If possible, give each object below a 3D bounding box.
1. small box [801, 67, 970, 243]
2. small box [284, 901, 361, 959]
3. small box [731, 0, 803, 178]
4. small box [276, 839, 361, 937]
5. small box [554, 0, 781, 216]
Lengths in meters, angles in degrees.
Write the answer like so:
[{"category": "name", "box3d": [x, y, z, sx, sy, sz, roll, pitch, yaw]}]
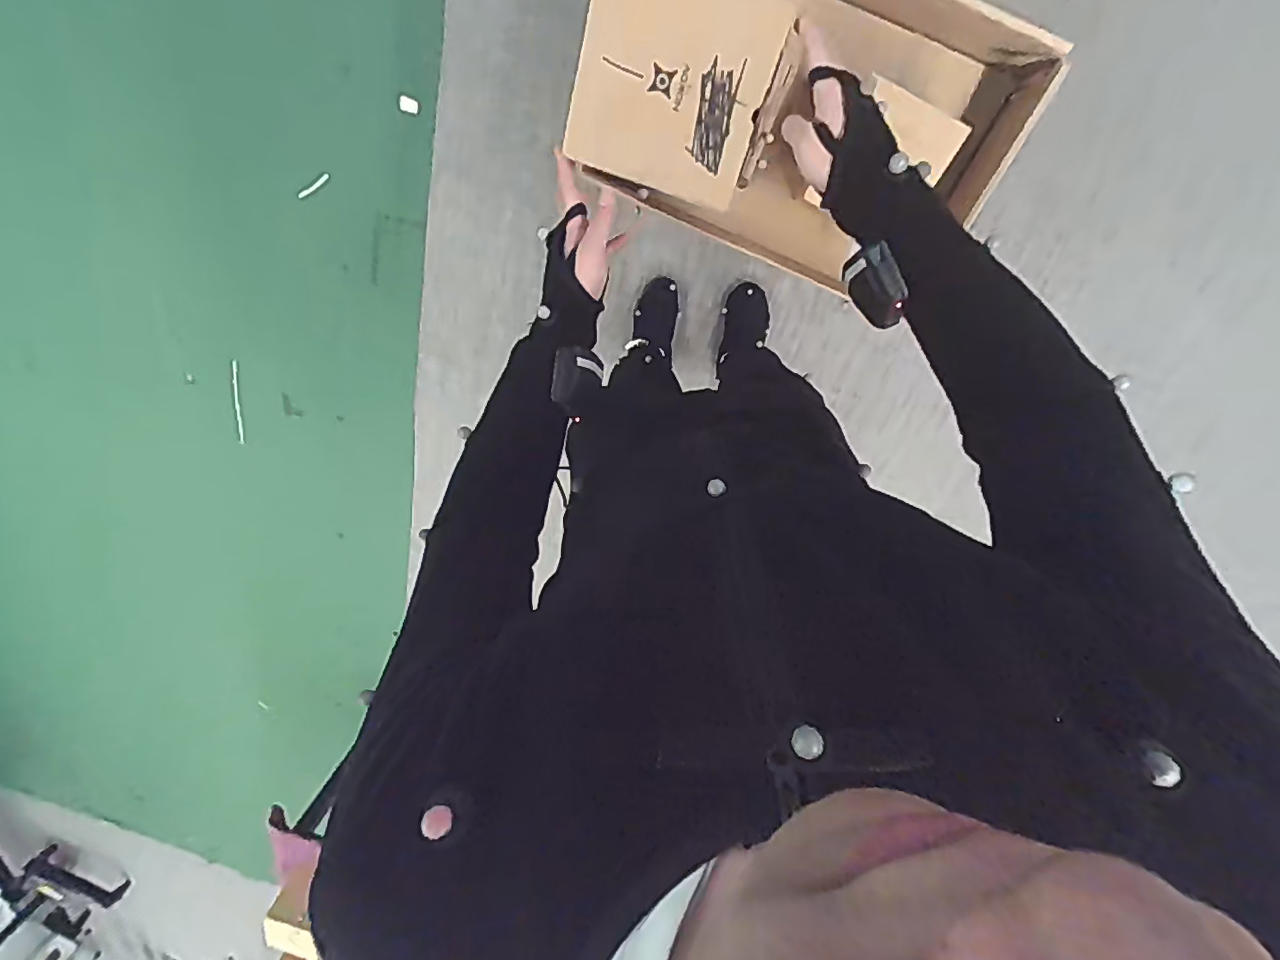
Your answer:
[{"category": "small box", "box3d": [0.374, -0.506, 0.864, 0.168, 0.176, 0.179, 28, 119, -3]}, {"category": "small box", "box3d": [-1.094, 1.585, 1.878, 0.168, 0.176, 0.179, 15, 118, 1]}, {"category": "small box", "box3d": [0.095, -0.527, 0.731, 0.179, 0.176, 0.168, 24, 119, -1]}, {"category": "small box", "box3d": [-1.008, 1.284, 1.709, 0.168, 0.176, 0.179, 18, 118, 2]}, {"category": "small box", "box3d": [0.031, -0.397, 0.569, 0.179, 0.176, 0.168, 19, 120, 0]}]
